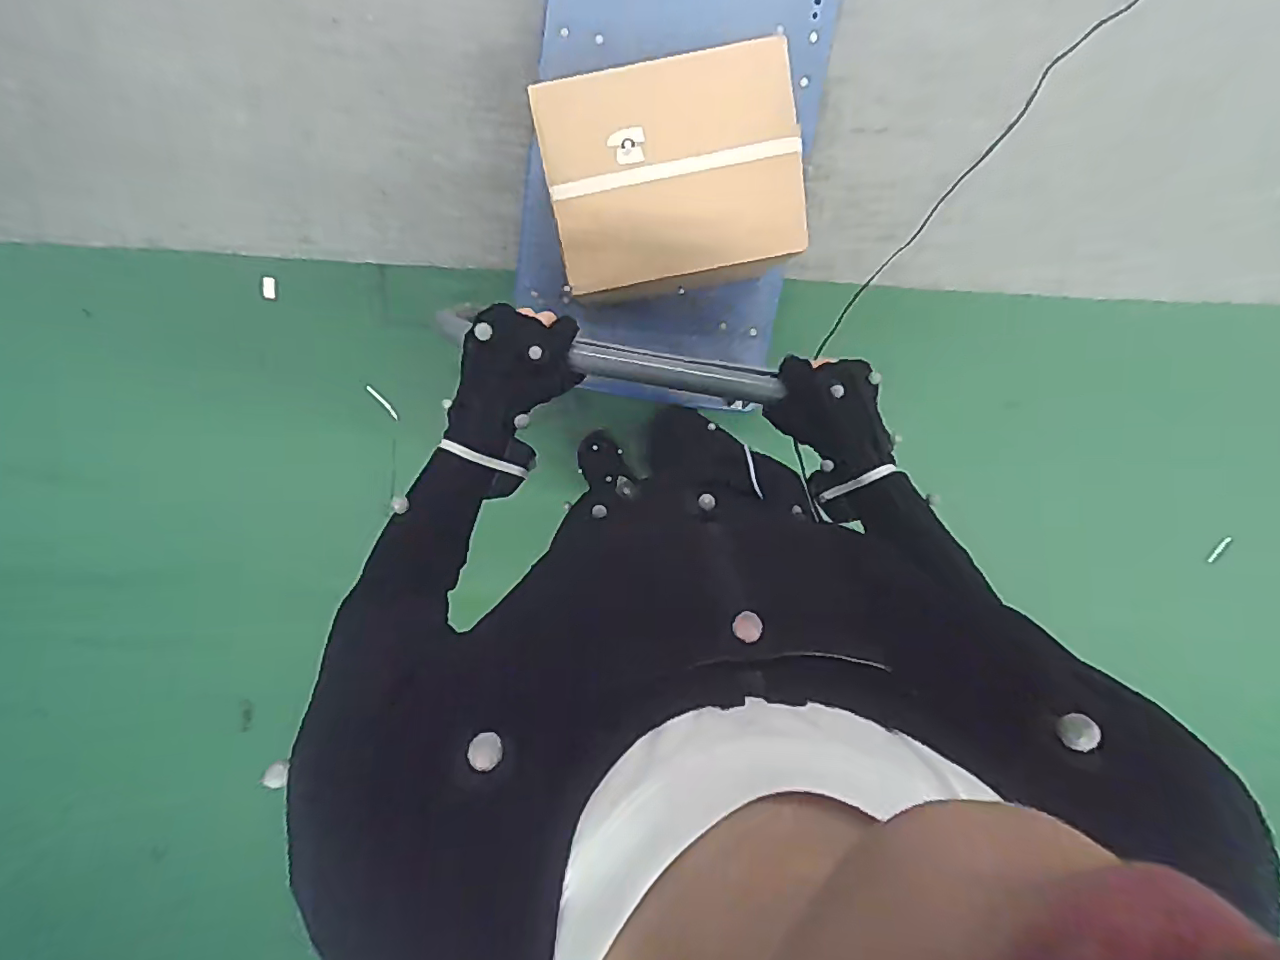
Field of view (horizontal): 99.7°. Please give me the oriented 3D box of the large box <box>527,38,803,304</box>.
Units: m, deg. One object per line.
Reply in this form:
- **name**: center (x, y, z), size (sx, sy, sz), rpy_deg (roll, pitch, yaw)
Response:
- **large box**: center (0.045, -0.527, 1.003), size (0.408, 0.320, 0.320), rpy_deg (-10, 104, 1)
